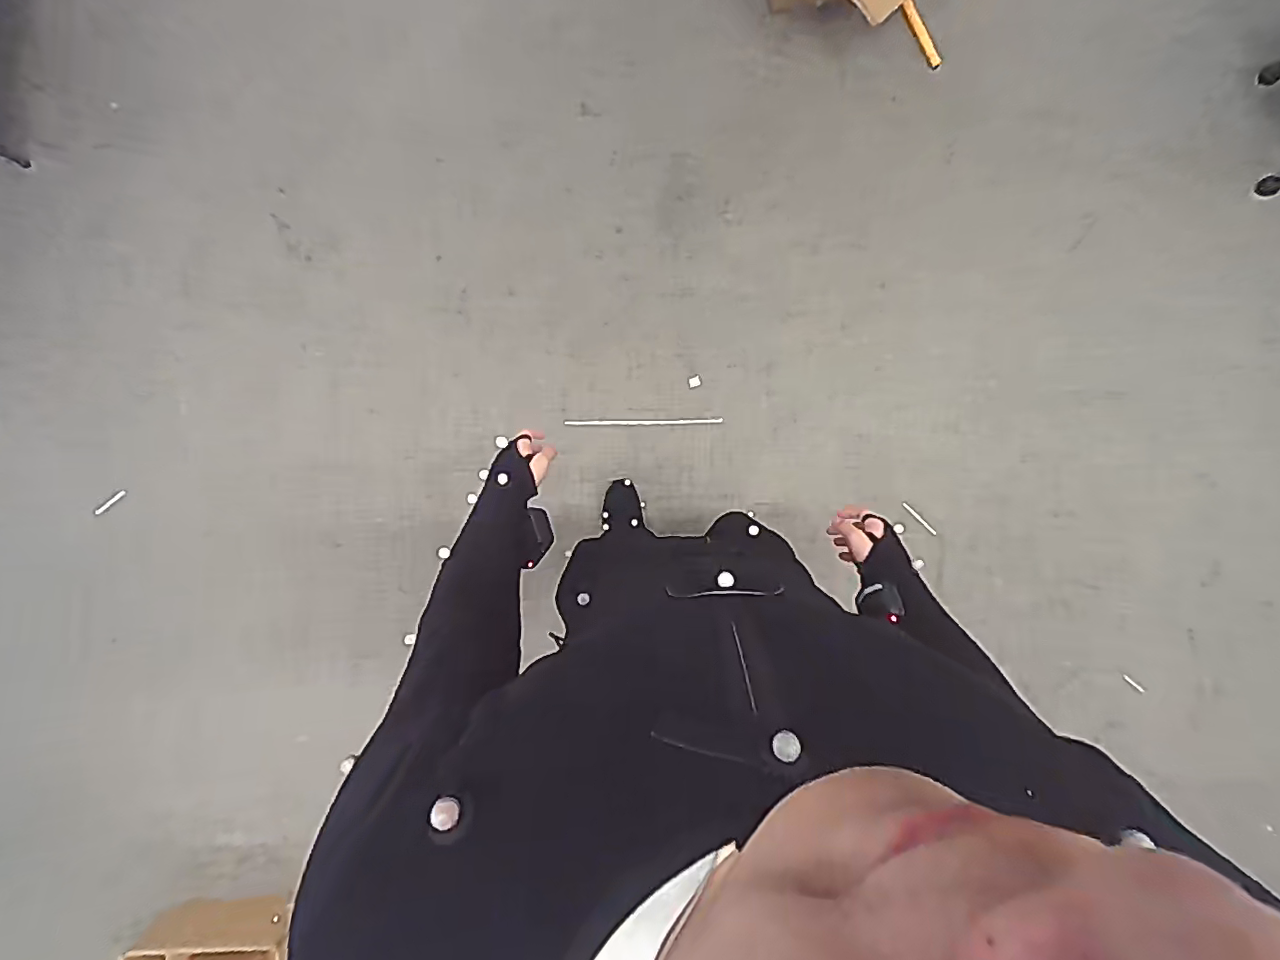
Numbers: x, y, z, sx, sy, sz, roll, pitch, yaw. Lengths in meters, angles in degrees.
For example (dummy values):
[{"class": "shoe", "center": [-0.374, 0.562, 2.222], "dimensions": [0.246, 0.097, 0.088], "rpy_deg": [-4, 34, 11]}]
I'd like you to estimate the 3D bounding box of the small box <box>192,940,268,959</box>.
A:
[{"class": "small box", "center": [-1.120, 1.361, 1.422], "dimensions": [0.179, 0.176, 0.168], "rpy_deg": [4, 89, -3]}]
